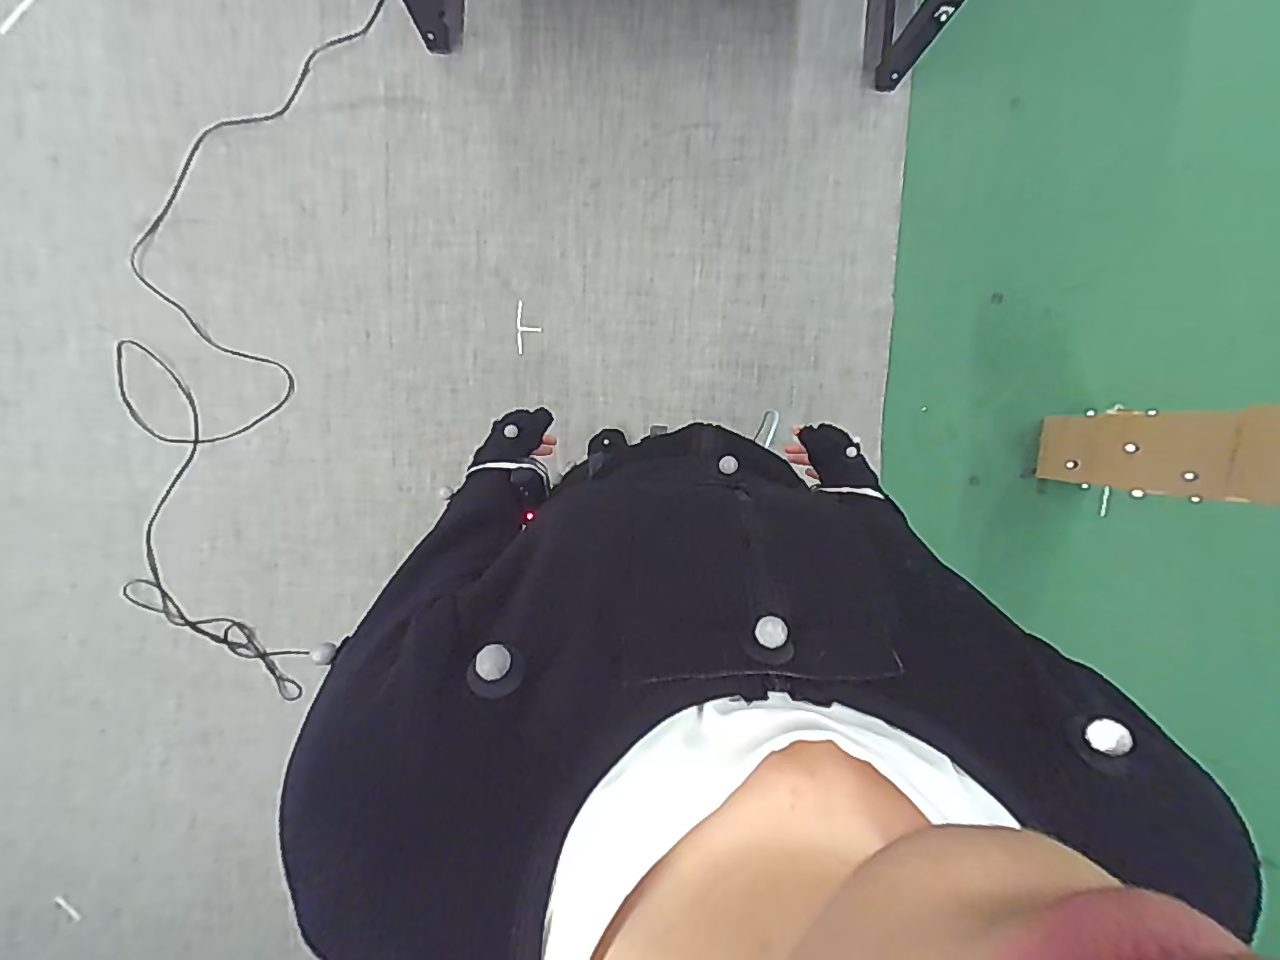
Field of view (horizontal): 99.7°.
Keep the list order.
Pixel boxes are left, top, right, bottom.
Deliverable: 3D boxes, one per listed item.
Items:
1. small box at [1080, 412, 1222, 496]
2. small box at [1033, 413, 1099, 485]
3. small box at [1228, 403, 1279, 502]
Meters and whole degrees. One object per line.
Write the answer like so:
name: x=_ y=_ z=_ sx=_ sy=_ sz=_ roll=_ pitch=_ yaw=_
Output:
small box: x=1.184 y=-0.065 z=1.267 sx=0.168 sy=0.176 sz=0.179 roll=4 pitch=95 yaw=-2
small box: x=1.185 y=-0.083 z=1.429 sx=0.168 sy=0.176 sz=0.179 roll=3 pitch=96 yaw=-3
small box: x=1.196 y=-0.042 z=0.939 sx=0.168 sy=0.176 sz=0.179 roll=6 pitch=95 yaw=-2
